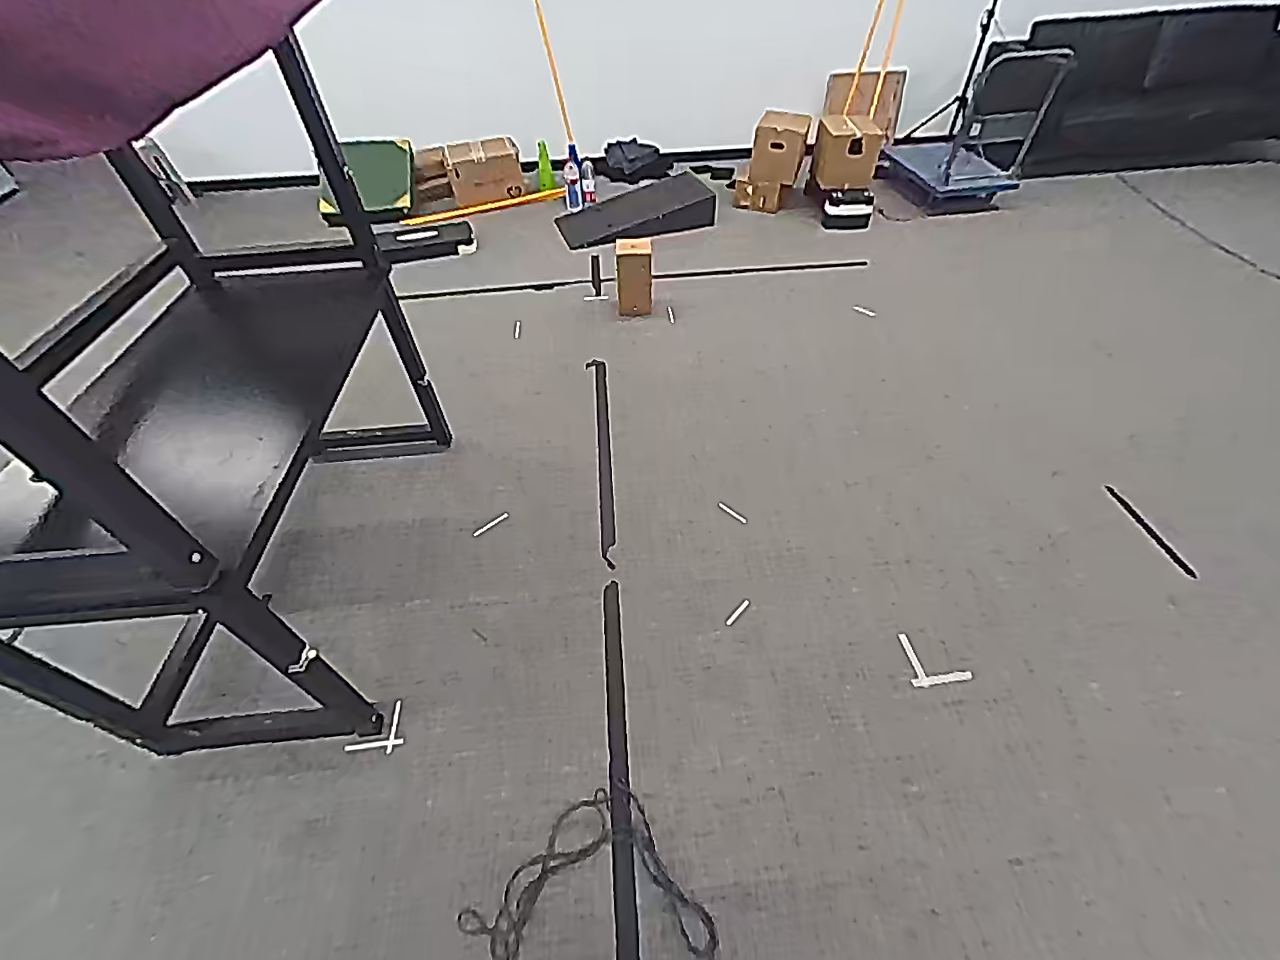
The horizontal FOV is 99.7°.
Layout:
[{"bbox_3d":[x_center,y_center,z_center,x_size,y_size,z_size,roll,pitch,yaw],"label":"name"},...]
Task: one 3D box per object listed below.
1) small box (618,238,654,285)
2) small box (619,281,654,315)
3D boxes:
[{"bbox_3d":[-0.018,-1.092,2.710,0.179,0.176,0.168,-1,47,1],"label":"small box"},{"bbox_3d":[-0.021,-0.982,2.832,0.179,0.176,0.168,-3,47,-2],"label":"small box"}]
